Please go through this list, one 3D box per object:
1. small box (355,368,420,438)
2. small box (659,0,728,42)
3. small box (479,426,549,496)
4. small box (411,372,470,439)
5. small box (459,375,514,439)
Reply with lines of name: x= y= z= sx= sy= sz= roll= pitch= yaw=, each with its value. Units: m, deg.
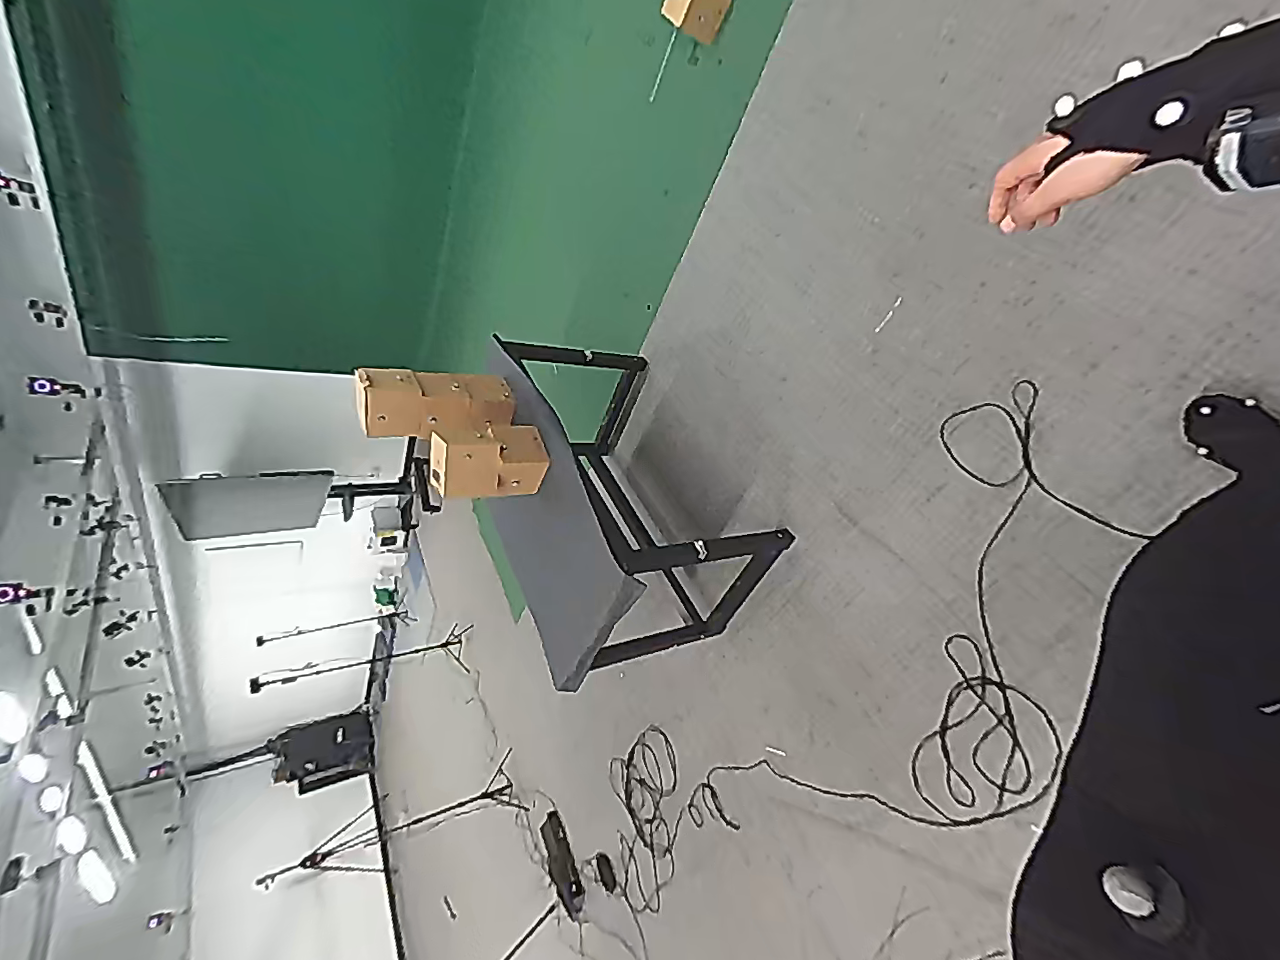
small box: x=-0.844 y=-0.258 z=1.805 sx=0.168 sy=0.176 sz=0.179 roll=48 pitch=131 yaw=38
small box: x=0.207 y=-1.825 z=2.069 sx=0.168 sy=0.176 sz=0.179 roll=-55 pitch=50 yaw=39
small box: x=-0.421 y=-0.064 z=1.802 sx=0.179 sy=0.176 sz=0.168 roll=-57 pitch=50 yaw=42
small box: x=-0.711 y=-0.262 z=1.905 sx=0.168 sy=0.176 sz=0.179 roll=51 pitch=132 yaw=37
small box: x=-0.581 y=-0.271 z=2.002 sx=0.168 sy=0.176 sz=0.179 roll=55 pitch=136 yaw=35
